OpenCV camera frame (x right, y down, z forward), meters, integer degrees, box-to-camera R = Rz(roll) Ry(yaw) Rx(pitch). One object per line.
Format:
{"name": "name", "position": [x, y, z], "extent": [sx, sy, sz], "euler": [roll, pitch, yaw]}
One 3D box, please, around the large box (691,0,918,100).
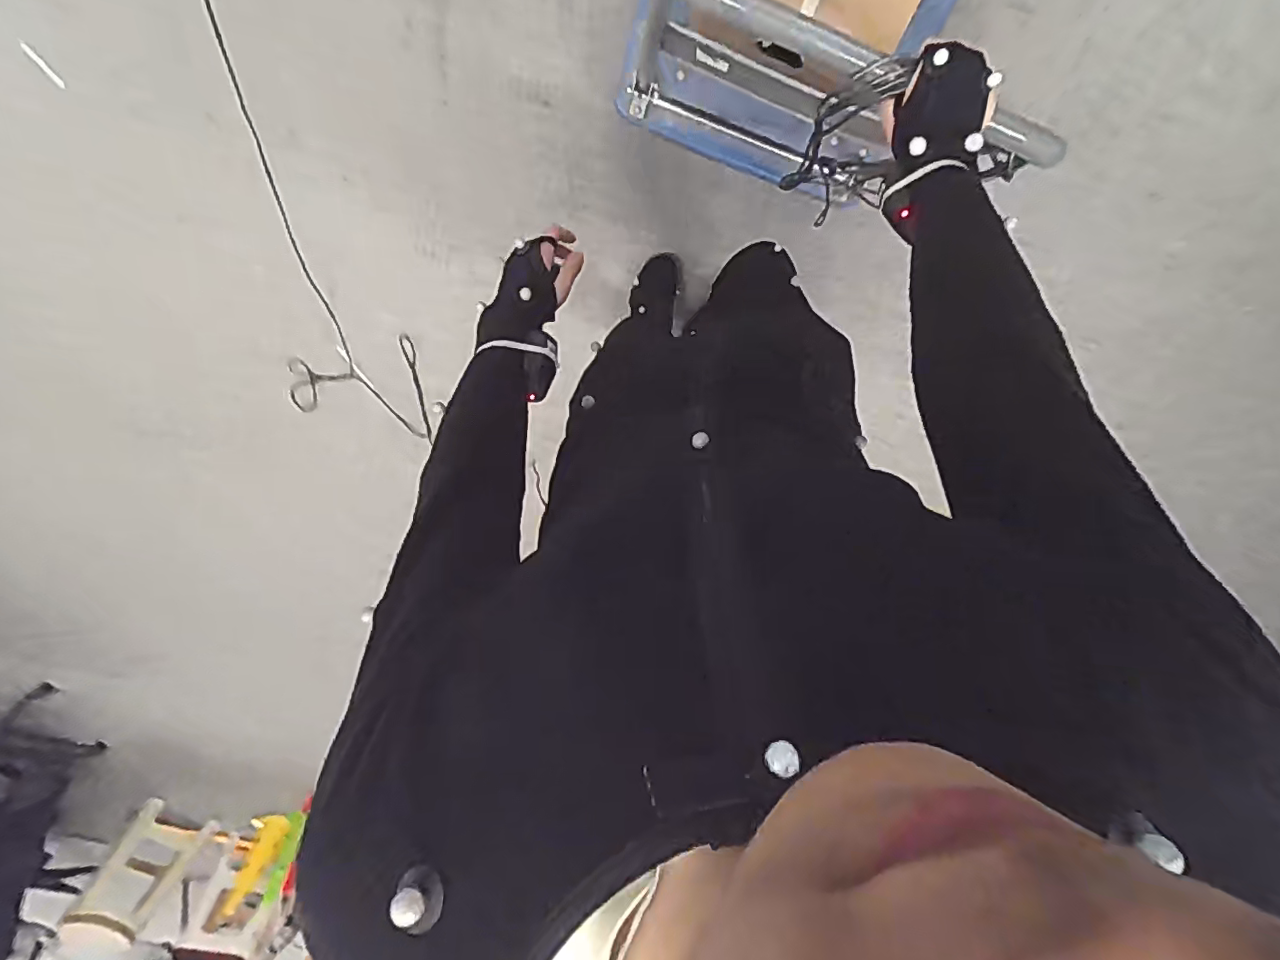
{"name": "large box", "position": [0.303, -0.912, 0.861], "extent": [0.320, 0.320, 0.408], "euler": [19, 116, -10]}
